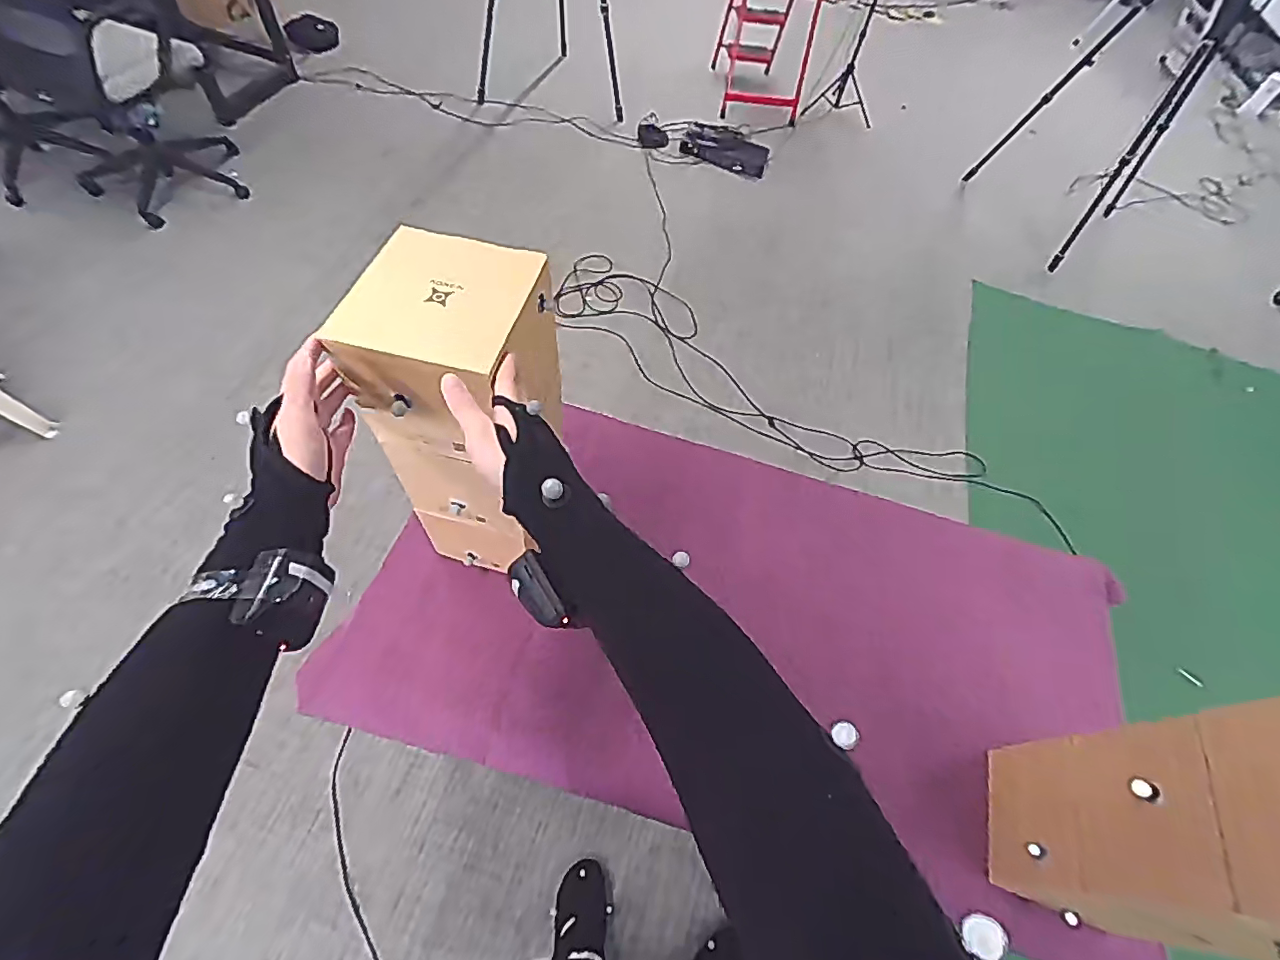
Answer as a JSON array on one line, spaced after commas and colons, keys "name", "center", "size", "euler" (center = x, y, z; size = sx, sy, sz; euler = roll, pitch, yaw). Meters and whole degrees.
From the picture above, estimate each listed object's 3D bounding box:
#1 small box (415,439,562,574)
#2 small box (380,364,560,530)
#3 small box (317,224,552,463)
[{"name": "small box", "center": [-0.231, 0.026, 0.873], "size": [0.168, 0.176, 0.179], "euler": [15, 59, 3]}, {"name": "small box", "center": [-0.213, -0.059, 0.734], "size": [0.168, 0.176, 0.179], "euler": [15, 59, 3]}, {"name": "small box", "center": [-0.200, -0.142, 0.593], "size": [0.168, 0.176, 0.179], "euler": [13, 58, 3]}]
